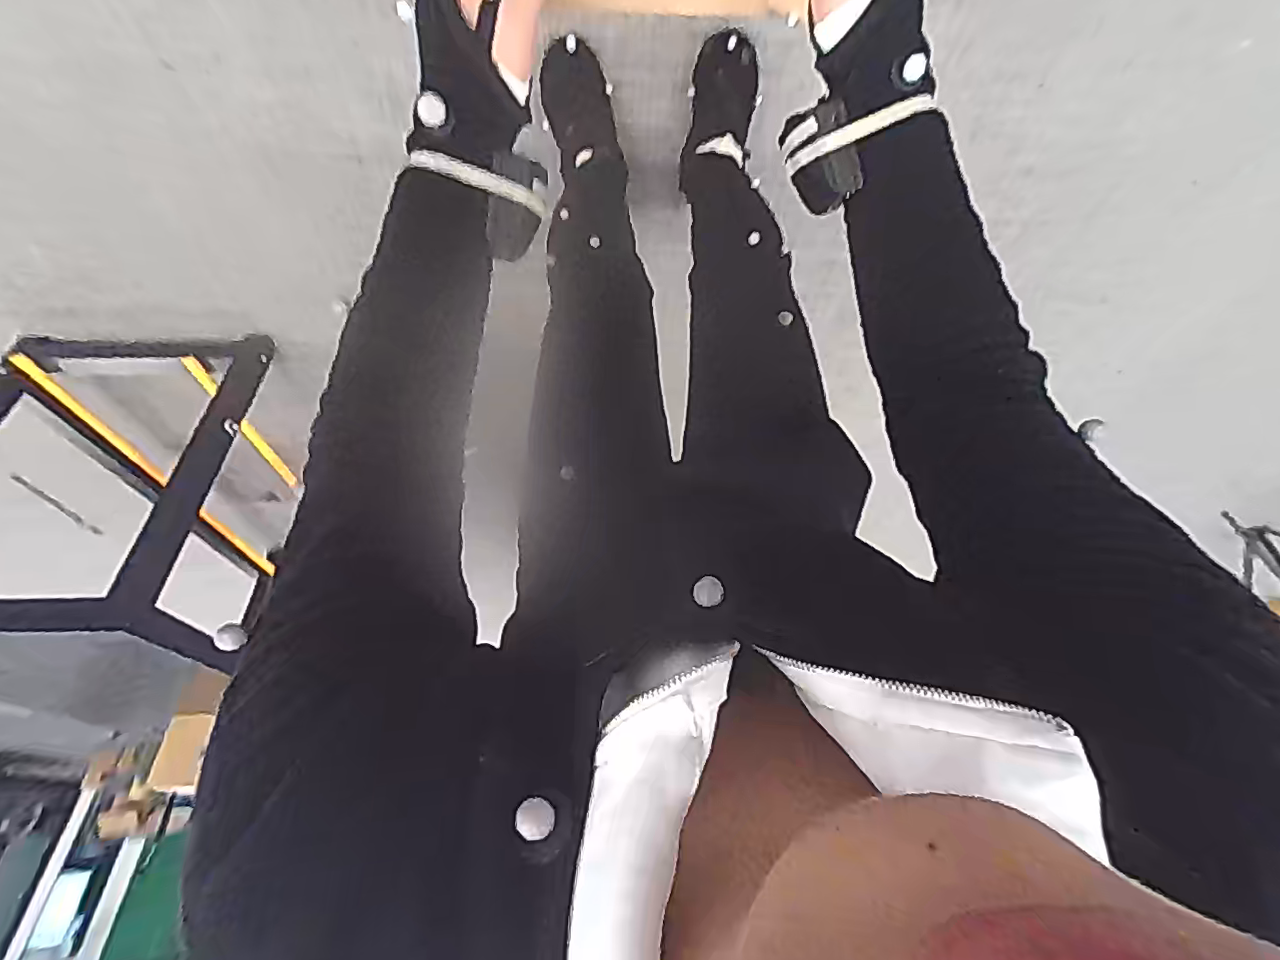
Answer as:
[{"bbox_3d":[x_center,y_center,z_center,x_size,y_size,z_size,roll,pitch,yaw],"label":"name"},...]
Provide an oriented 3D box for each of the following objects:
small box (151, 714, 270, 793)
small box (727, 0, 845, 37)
[{"bbox_3d":[-1.127,0.730,1.442,0.179,0.176,0.168,0,145,-4],"label":"small box"},{"bbox_3d":[0.195,-0.730,0.705,0.179,0.176,0.168,7,144,-15],"label":"small box"}]
